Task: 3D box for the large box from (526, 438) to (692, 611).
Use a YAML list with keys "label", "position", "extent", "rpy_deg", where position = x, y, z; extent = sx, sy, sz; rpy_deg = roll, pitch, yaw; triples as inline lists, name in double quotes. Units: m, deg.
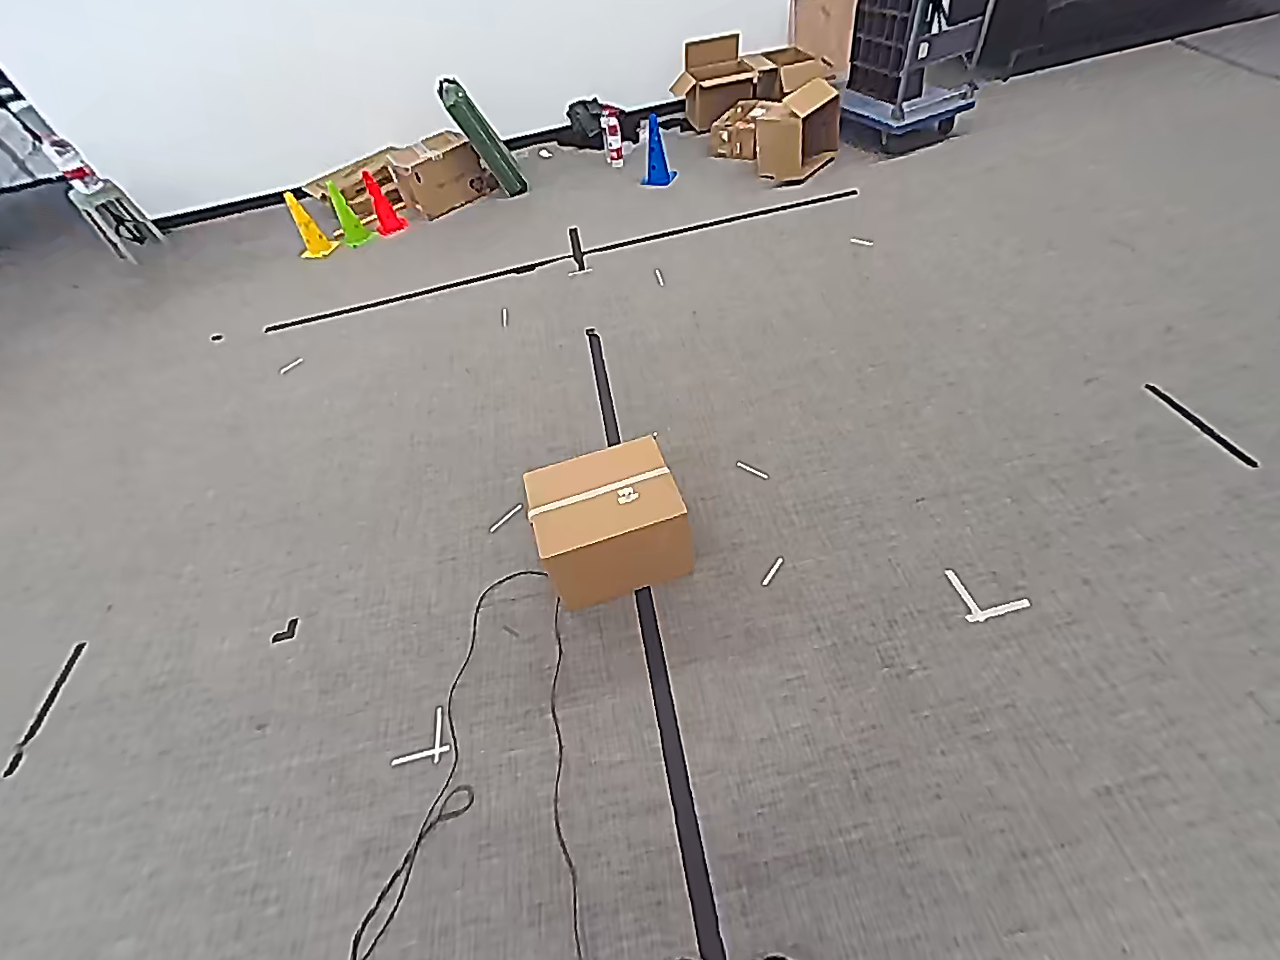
- label: "large box"
  position: [-0.087, 0.136, 1.609]
  extent: [0.408, 0.320, 0.320]
  rpy_deg: [-17, 51, -5]
